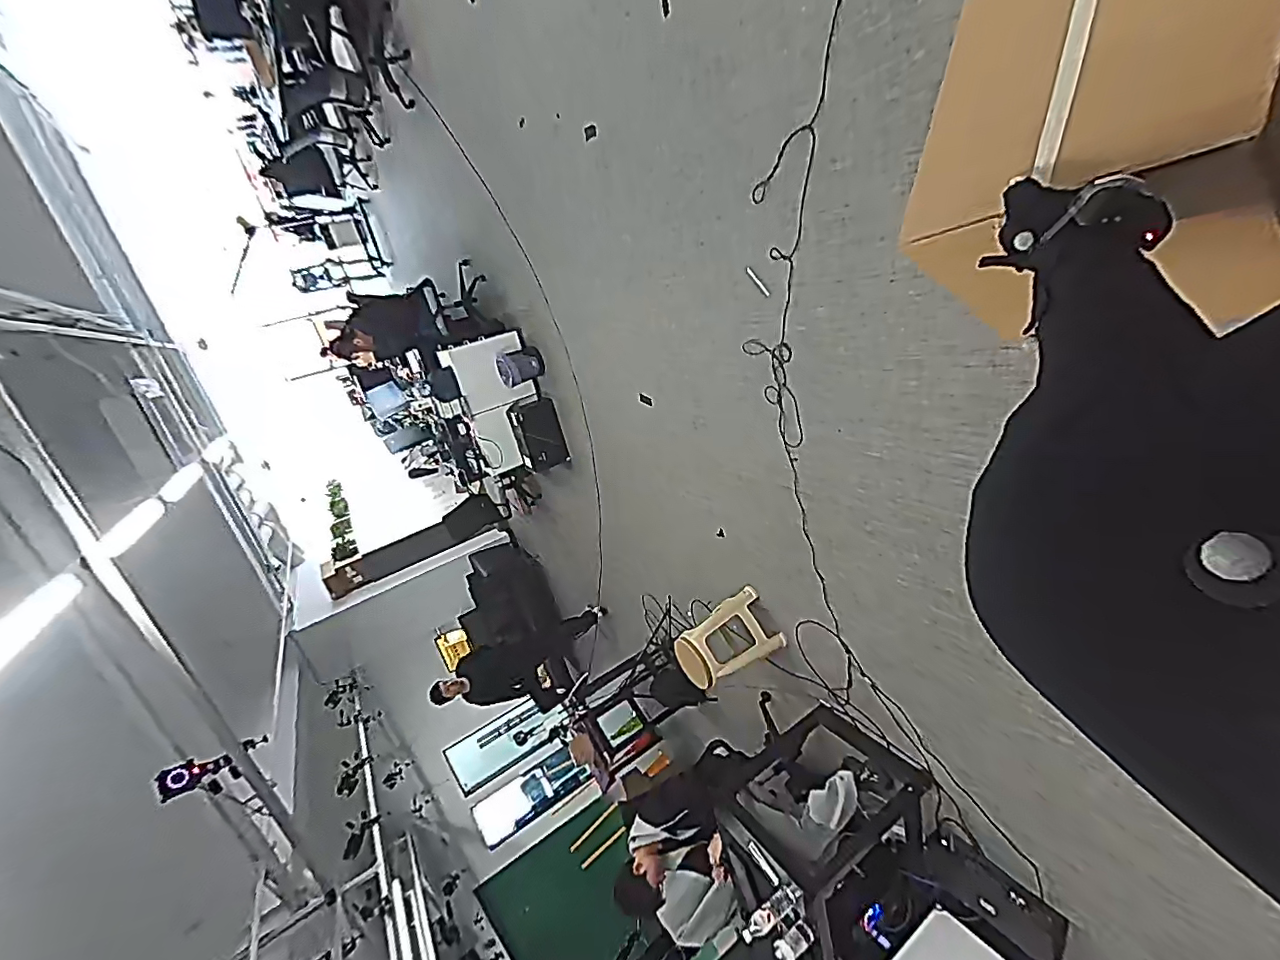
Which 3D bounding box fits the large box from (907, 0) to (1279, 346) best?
[{"bbox_3d":[0.595,-0.424,0.653,0.320,0.320,0.408,11,83,59],"label":"large box"}]
